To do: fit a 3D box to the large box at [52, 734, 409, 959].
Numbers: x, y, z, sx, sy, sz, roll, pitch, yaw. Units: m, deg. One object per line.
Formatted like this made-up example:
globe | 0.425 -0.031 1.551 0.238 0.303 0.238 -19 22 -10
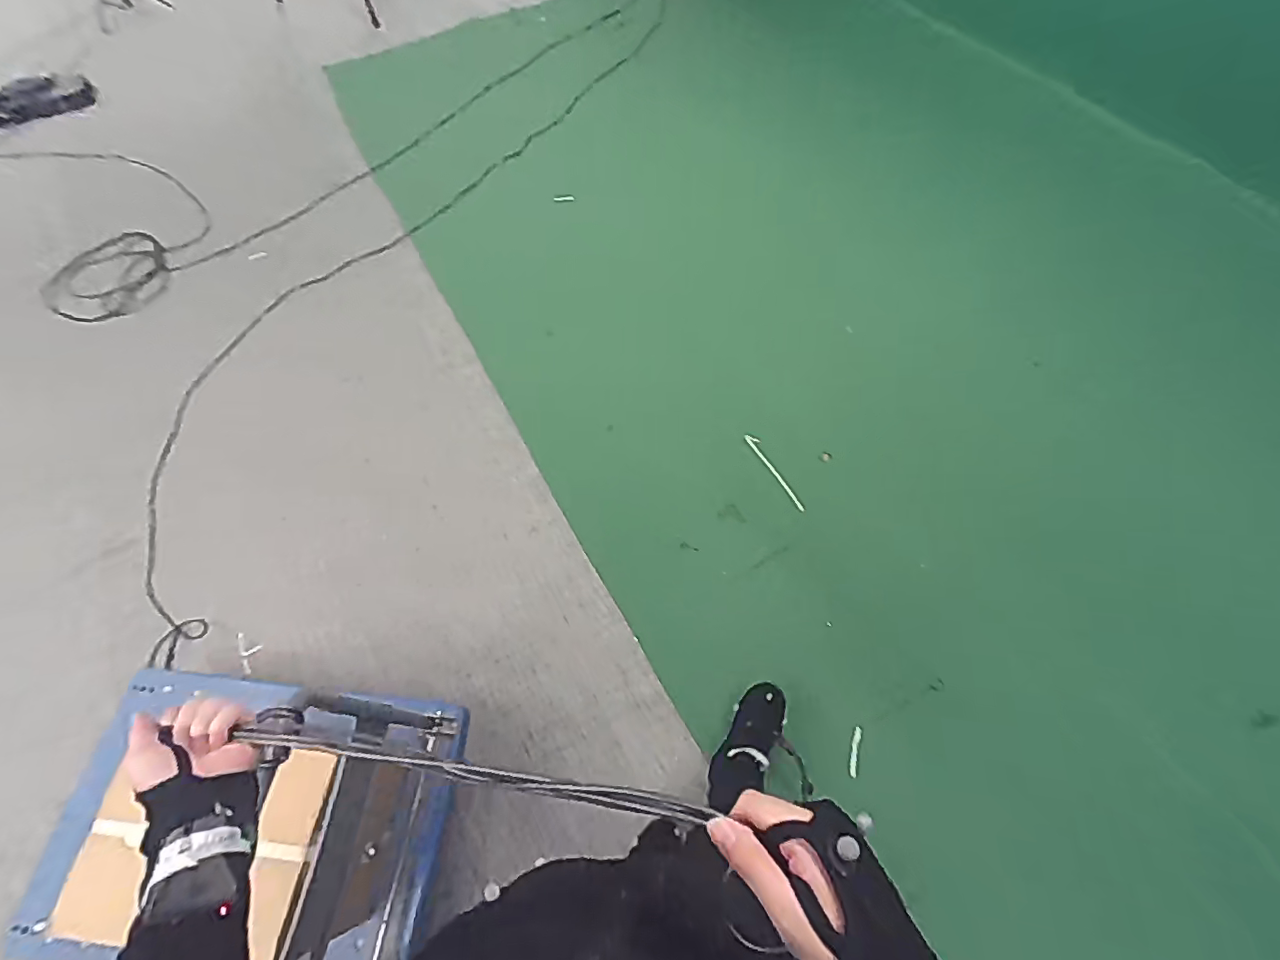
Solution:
large box | -0.743 0.693 1.064 0.408 0.320 0.320 4 62 6
